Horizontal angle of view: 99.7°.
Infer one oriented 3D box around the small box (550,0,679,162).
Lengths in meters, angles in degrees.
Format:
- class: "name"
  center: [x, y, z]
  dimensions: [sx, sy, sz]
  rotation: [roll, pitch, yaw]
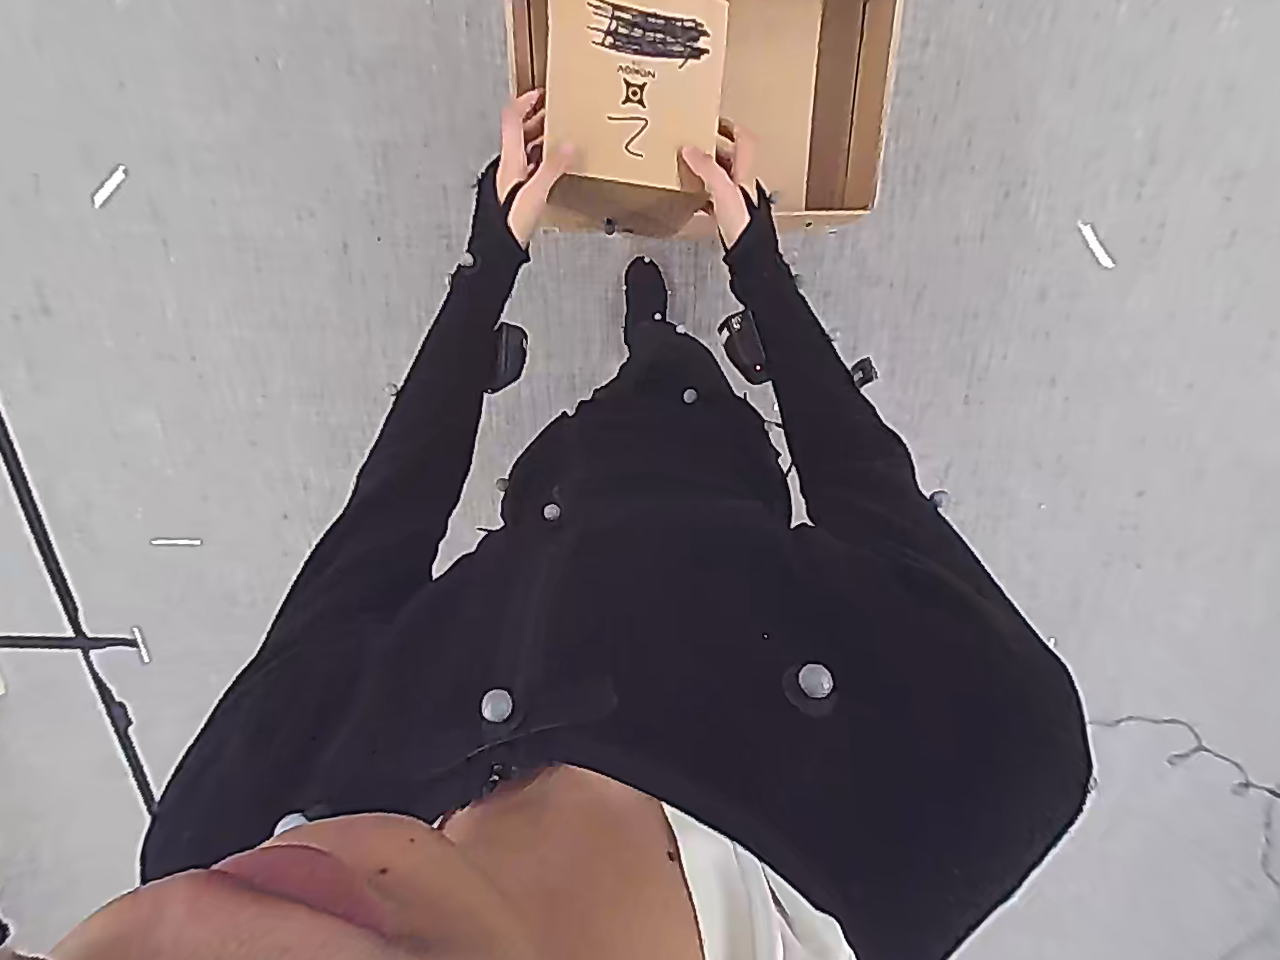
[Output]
- class: "small box"
  center: [-0.034, -0.576, 0.771]
  dimensions: [0.168, 0.176, 0.179]
  rotation: [1, 108, 0]
